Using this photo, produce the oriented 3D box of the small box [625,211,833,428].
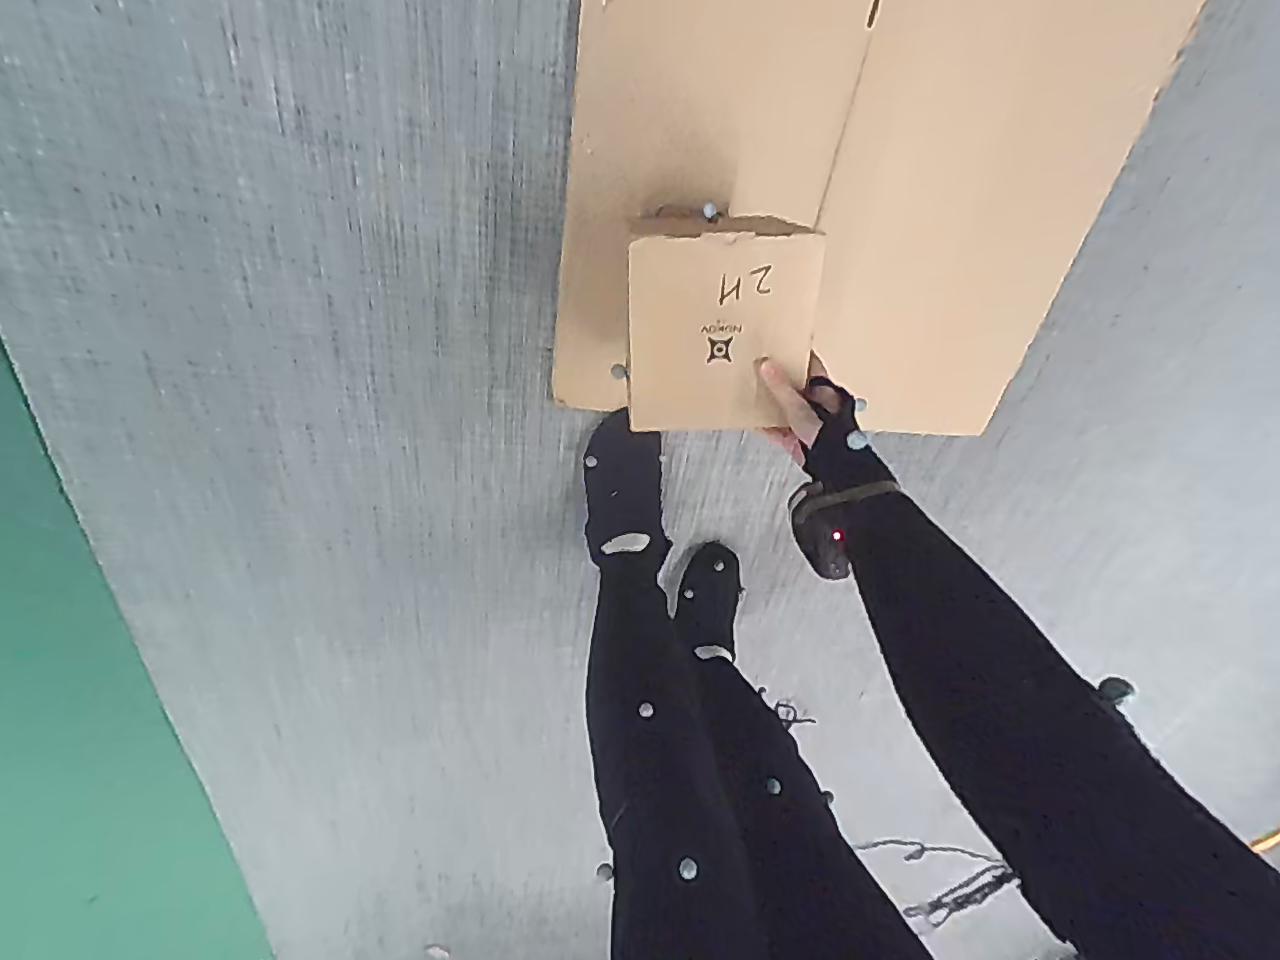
[{"bbox_3d":[0.071,-0.166,0.545,0.168,0.176,0.179,-1,120,-3],"label":"small box"}]
